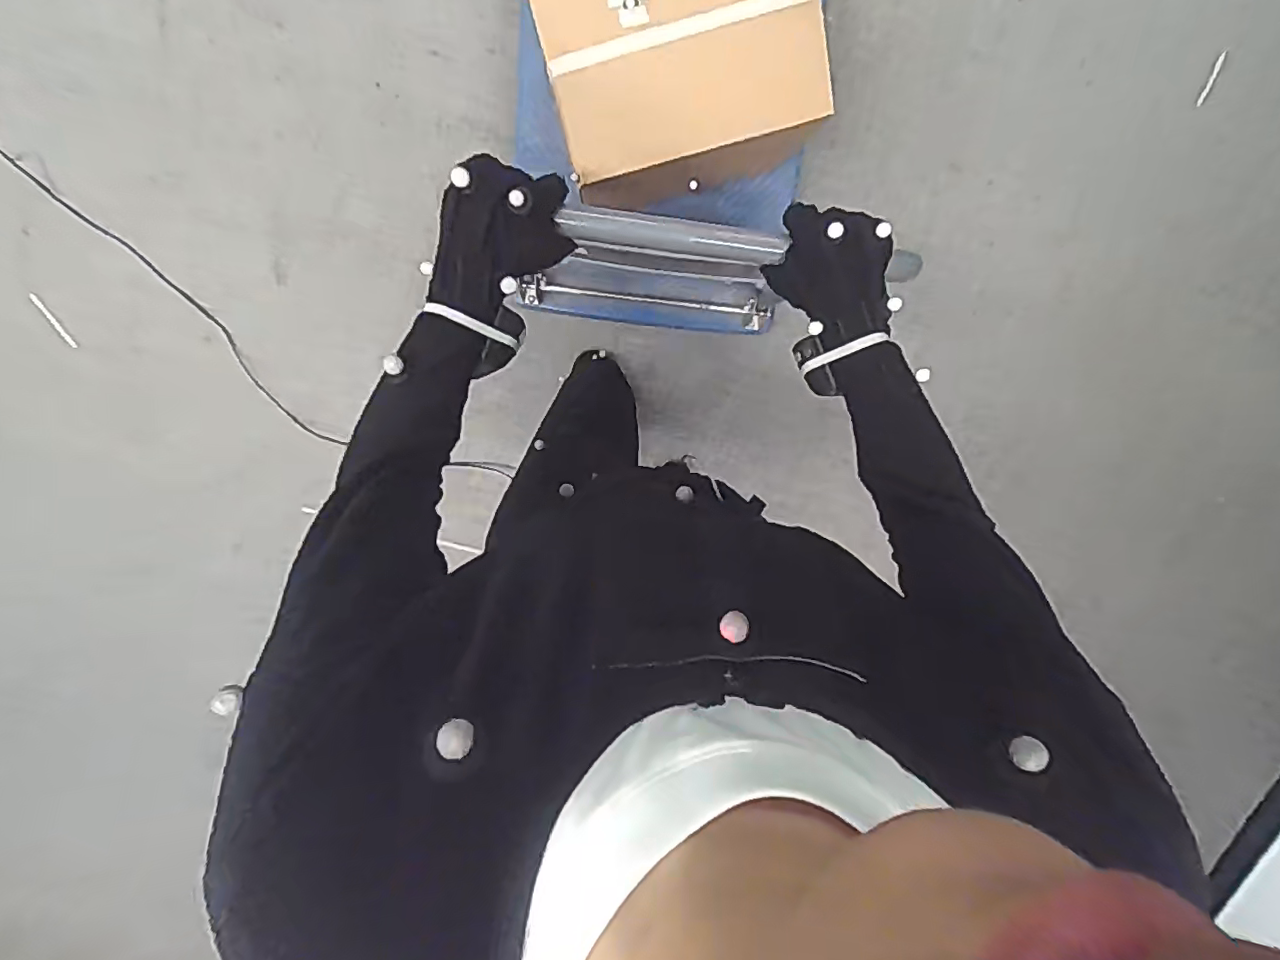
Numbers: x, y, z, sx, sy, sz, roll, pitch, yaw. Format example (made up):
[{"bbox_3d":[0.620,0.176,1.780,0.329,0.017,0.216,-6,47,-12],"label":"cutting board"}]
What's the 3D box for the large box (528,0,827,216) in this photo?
[{"bbox_3d":[0.055,-0.697,0.937,0.408,0.320,0.320,-15,106,3],"label":"large box"}]
